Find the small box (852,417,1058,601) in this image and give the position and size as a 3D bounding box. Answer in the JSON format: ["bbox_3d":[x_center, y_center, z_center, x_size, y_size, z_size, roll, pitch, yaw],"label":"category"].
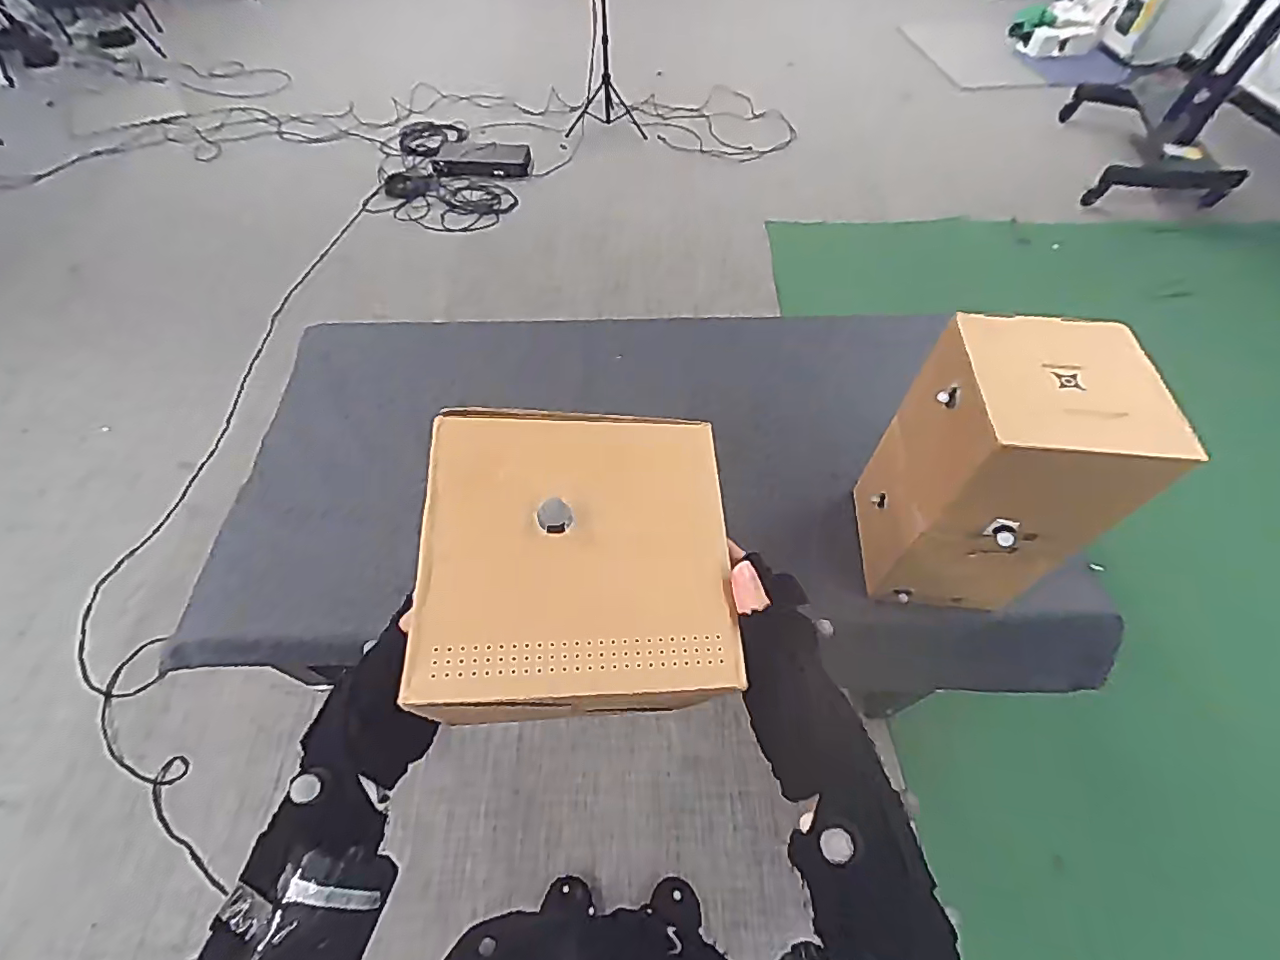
[{"bbox_3d":[0.390,0.043,0.704,0.168,0.176,0.179,5,55,4],"label":"small box"}]

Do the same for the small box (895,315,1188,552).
[{"bbox_3d":[0.388,-0.046,0.569,0.168,0.176,0.179,5,56,5],"label":"small box"}]

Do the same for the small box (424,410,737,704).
[{"bbox_3d":[-0.047,0.066,0.387,0.179,0.168,0.176,1,65,-11],"label":"small box"}]
